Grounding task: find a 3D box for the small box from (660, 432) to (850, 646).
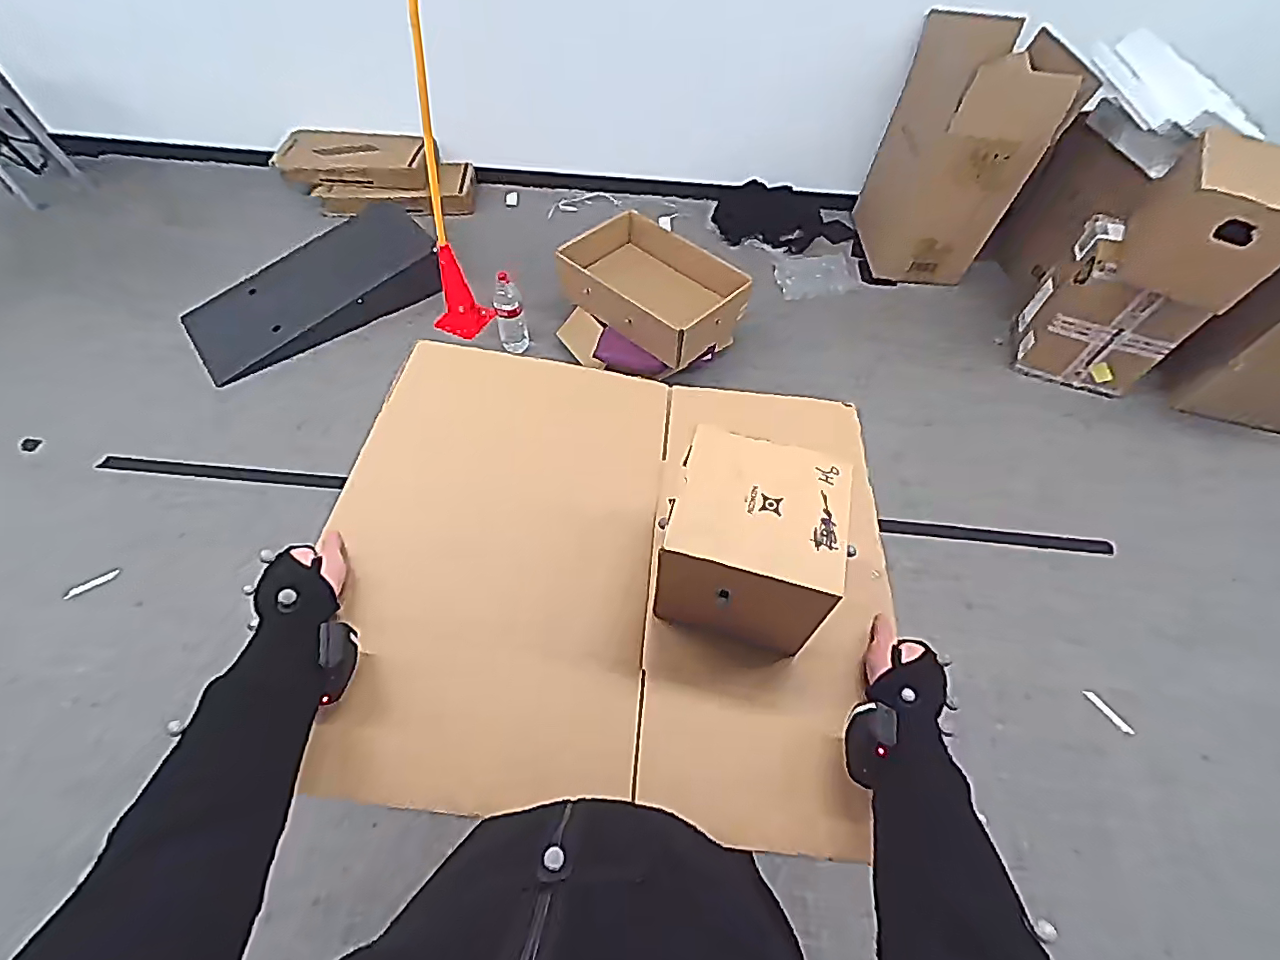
[{"bbox_3d":[0.125,0.073,0.624,0.179,0.176,0.168,13,56,9],"label":"small box"}]
